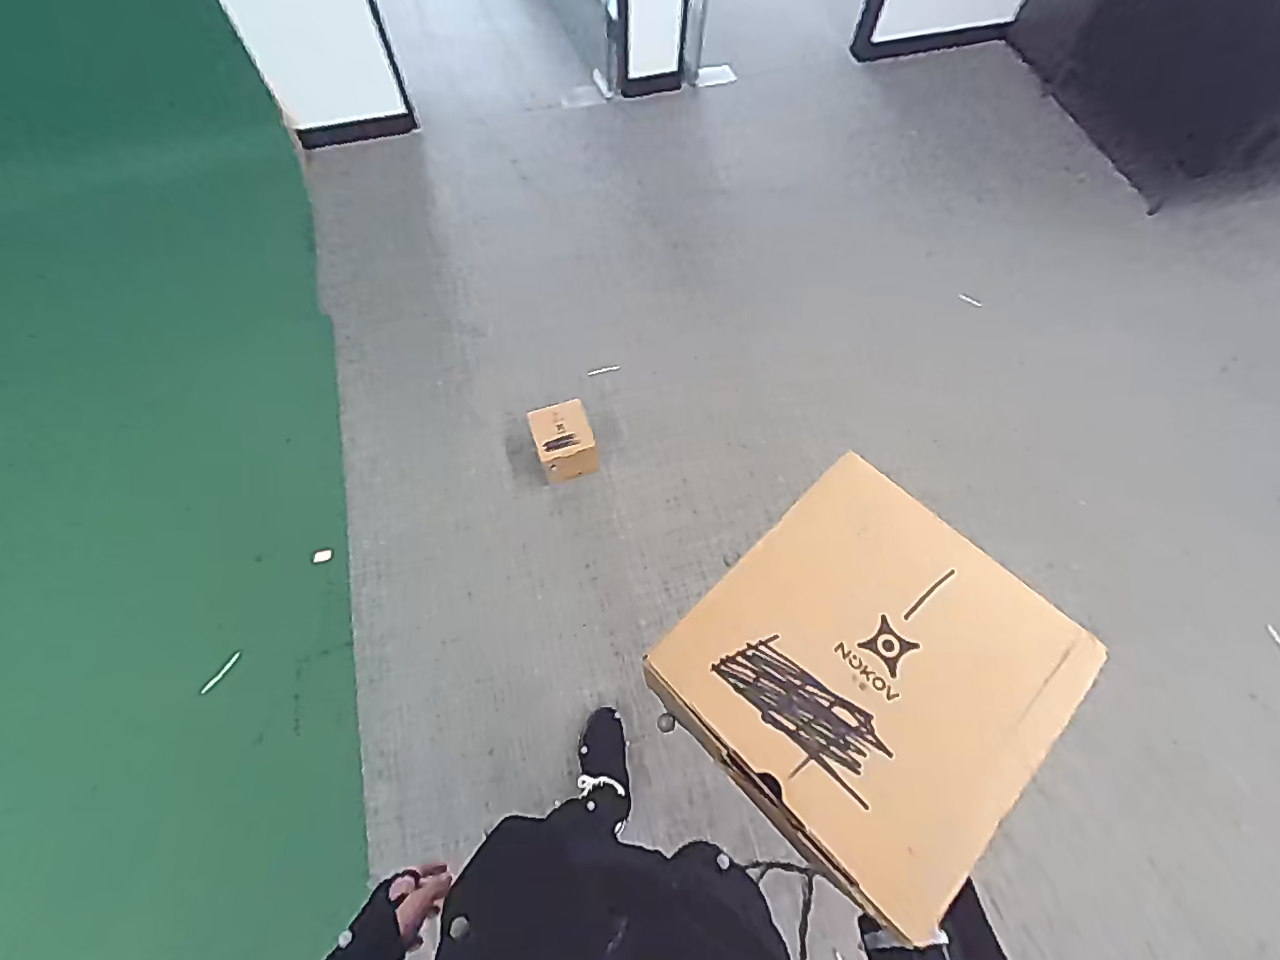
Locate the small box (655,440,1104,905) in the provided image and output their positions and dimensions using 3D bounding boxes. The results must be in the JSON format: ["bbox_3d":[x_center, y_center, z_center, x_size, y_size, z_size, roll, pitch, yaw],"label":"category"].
[{"bbox_3d":[0.127,0.115,0.355,0.179,0.176,0.168,-41,71,-17],"label":"small box"}]
